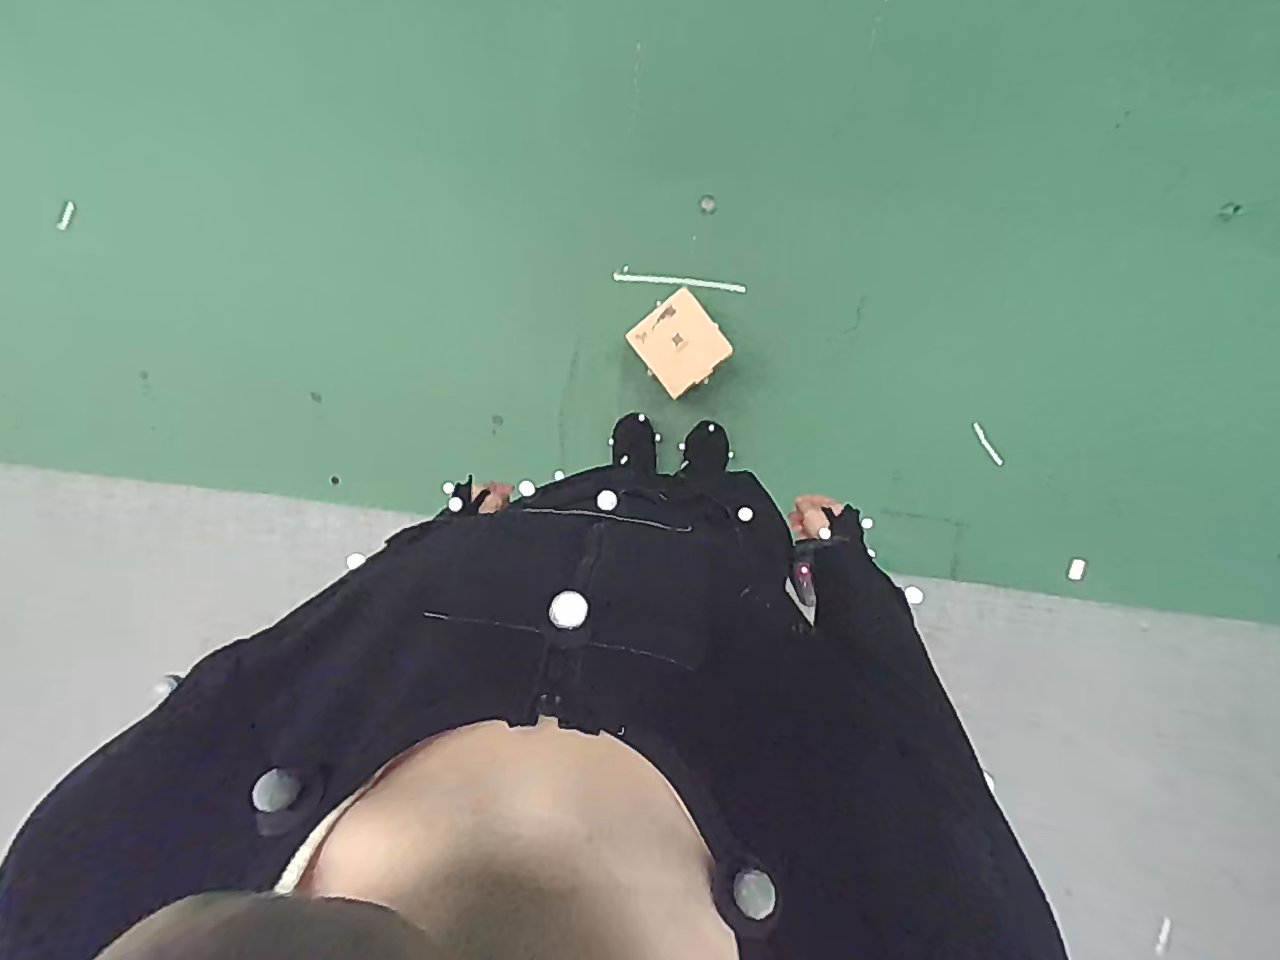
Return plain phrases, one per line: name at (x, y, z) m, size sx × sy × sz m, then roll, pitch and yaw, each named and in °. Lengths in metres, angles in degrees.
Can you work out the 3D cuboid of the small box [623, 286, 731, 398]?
small box at (0.086, -0.307, 1.225) m, size 0.168 × 0.176 × 0.179 m, roll -38°, pitch 95°, yaw 10°
